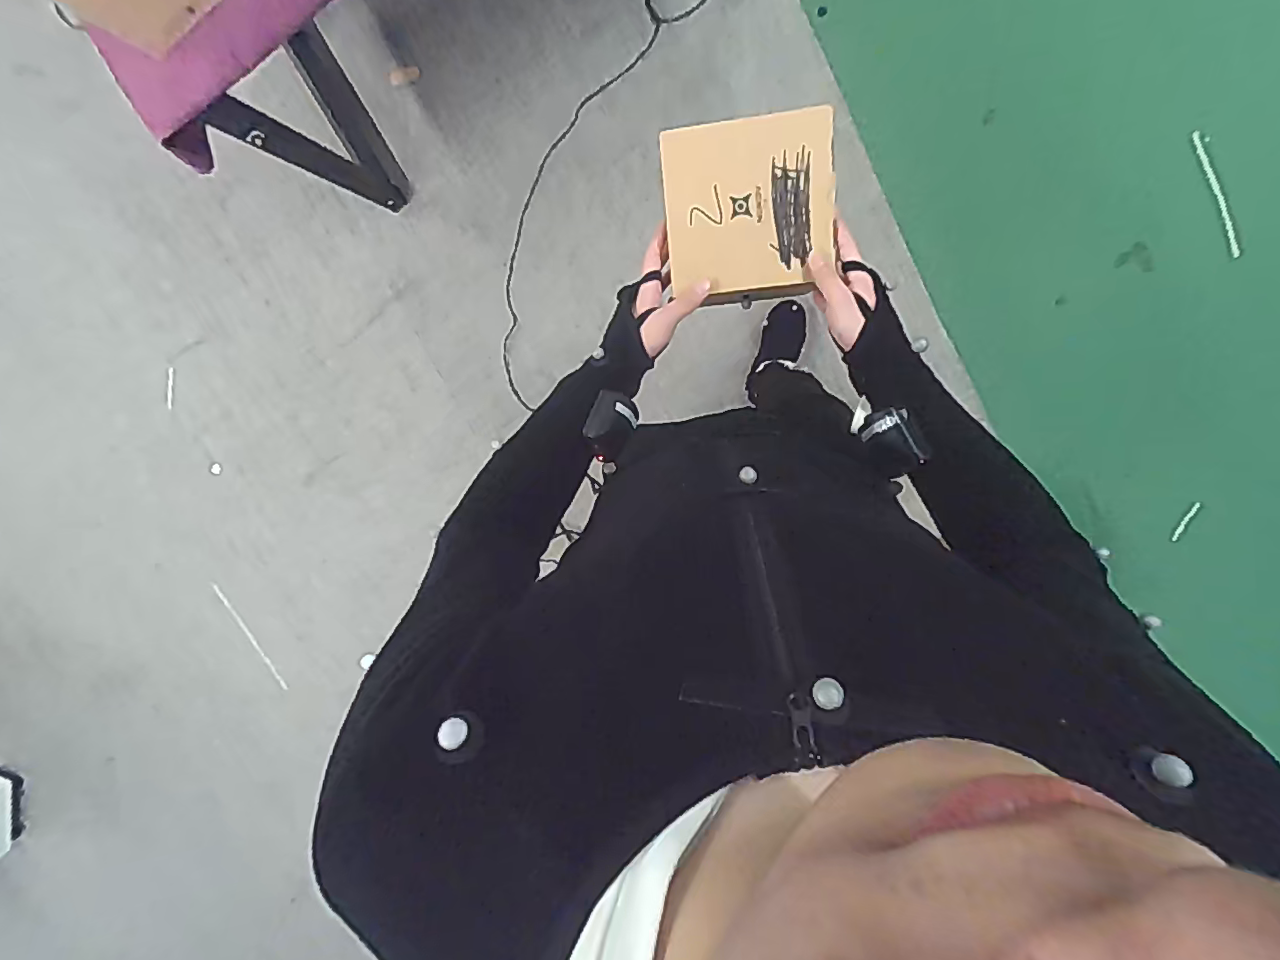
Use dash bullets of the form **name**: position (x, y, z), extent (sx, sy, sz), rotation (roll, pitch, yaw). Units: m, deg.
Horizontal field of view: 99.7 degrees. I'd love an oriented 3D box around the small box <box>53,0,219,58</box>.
- **small box**: position (-0.749, -0.751, 0.748), extent (0.168, 0.176, 0.179), rotation (-29, 95, 13)
